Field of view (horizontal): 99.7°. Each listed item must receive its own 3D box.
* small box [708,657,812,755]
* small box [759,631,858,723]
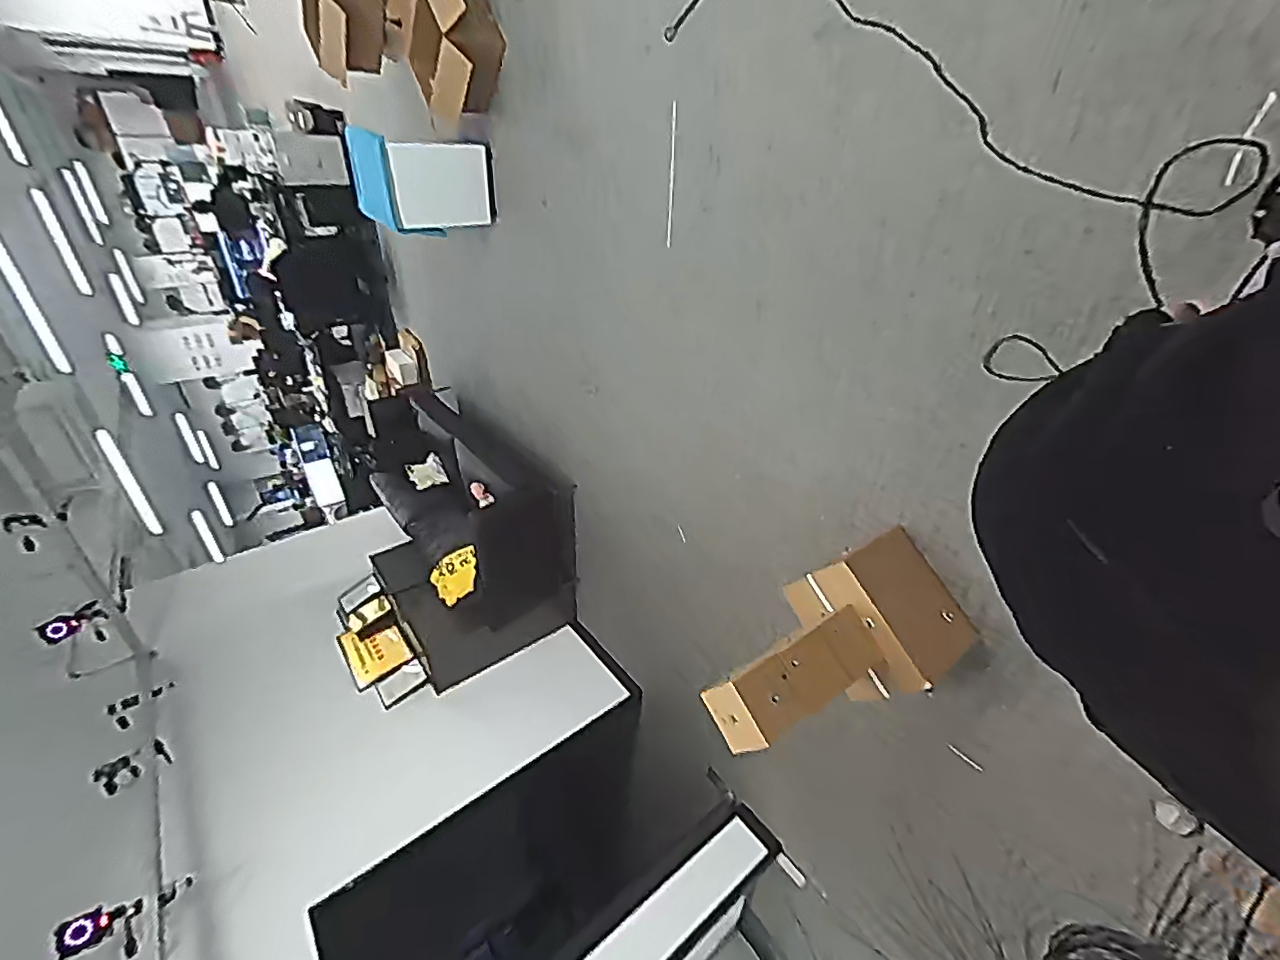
[{"bbox_3d":[0.316,0.582,1.400,0.168,0.176,0.179,60,147,18],"label":"small box"},{"bbox_3d":[0.455,0.543,1.482,0.179,0.176,0.168,60,147,17],"label":"small box"}]
